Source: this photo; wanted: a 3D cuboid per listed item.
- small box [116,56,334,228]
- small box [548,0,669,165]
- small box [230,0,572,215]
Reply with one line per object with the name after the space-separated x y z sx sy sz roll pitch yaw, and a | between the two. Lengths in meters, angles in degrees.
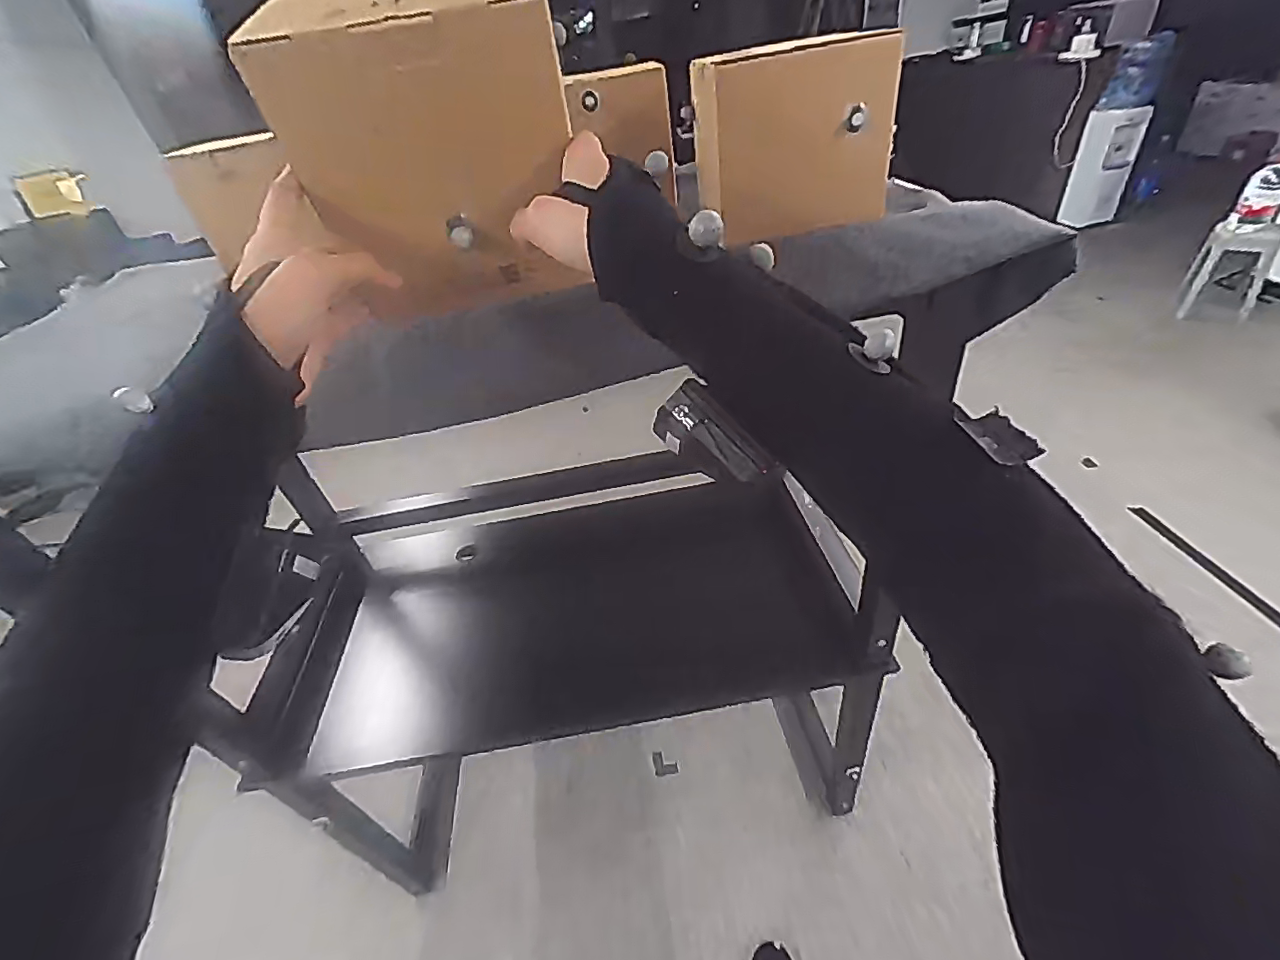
-0.521 -0.455 0.732 0.168 0.176 0.179 -13 39 -4 | small box
-0.058 -0.545 0.743 0.168 0.176 0.179 -10 39 0 | small box
-0.146 -0.299 0.349 0.168 0.176 0.179 -13 51 -4 | small box
